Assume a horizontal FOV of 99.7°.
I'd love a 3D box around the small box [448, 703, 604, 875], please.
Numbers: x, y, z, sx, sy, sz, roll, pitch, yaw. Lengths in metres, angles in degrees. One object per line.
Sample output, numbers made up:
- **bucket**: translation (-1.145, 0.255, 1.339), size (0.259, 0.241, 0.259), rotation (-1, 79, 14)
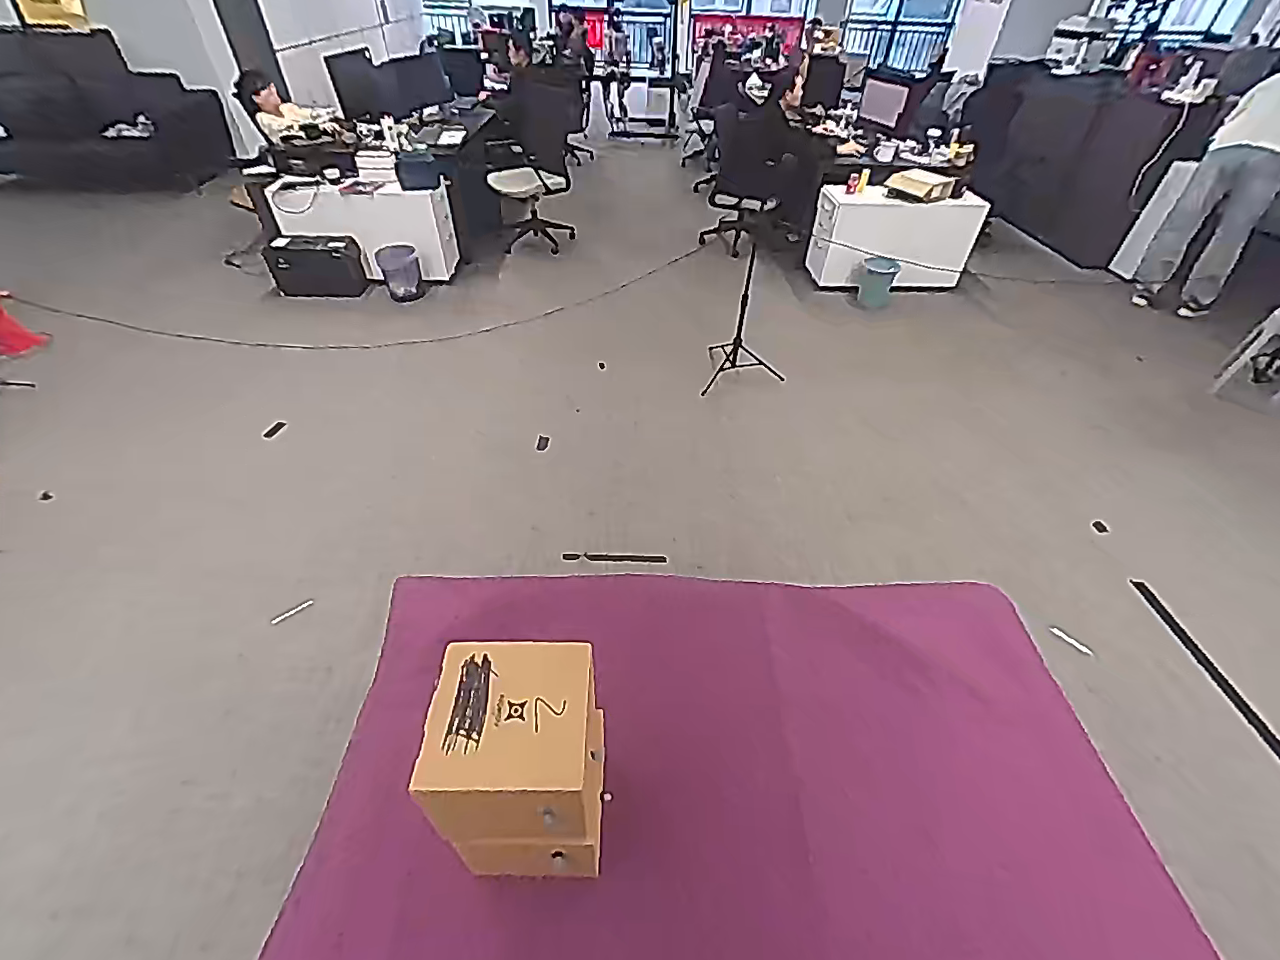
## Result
- **small box**: translation (-0.143, 0.432, 0.754), size (0.179, 0.176, 0.168), rotation (2, 43, -1)
